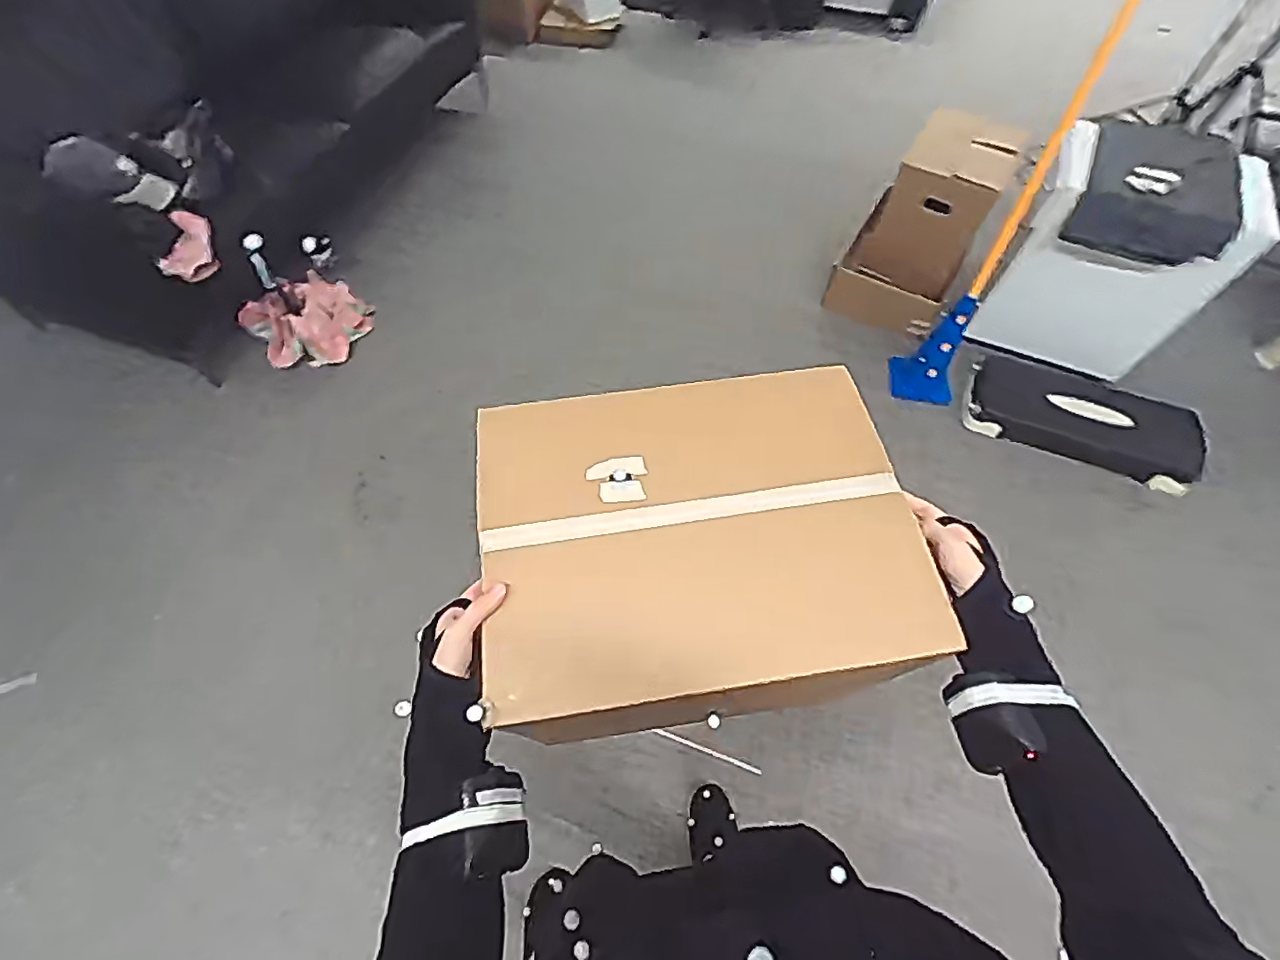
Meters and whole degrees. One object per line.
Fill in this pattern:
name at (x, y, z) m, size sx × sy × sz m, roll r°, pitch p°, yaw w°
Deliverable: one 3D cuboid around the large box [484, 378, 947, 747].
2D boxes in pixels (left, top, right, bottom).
large box at (0.056, 0.117, 0.660) m, size 0.408 × 0.320 × 0.320 m, roll -9°, pitch 61°, yaw -4°
